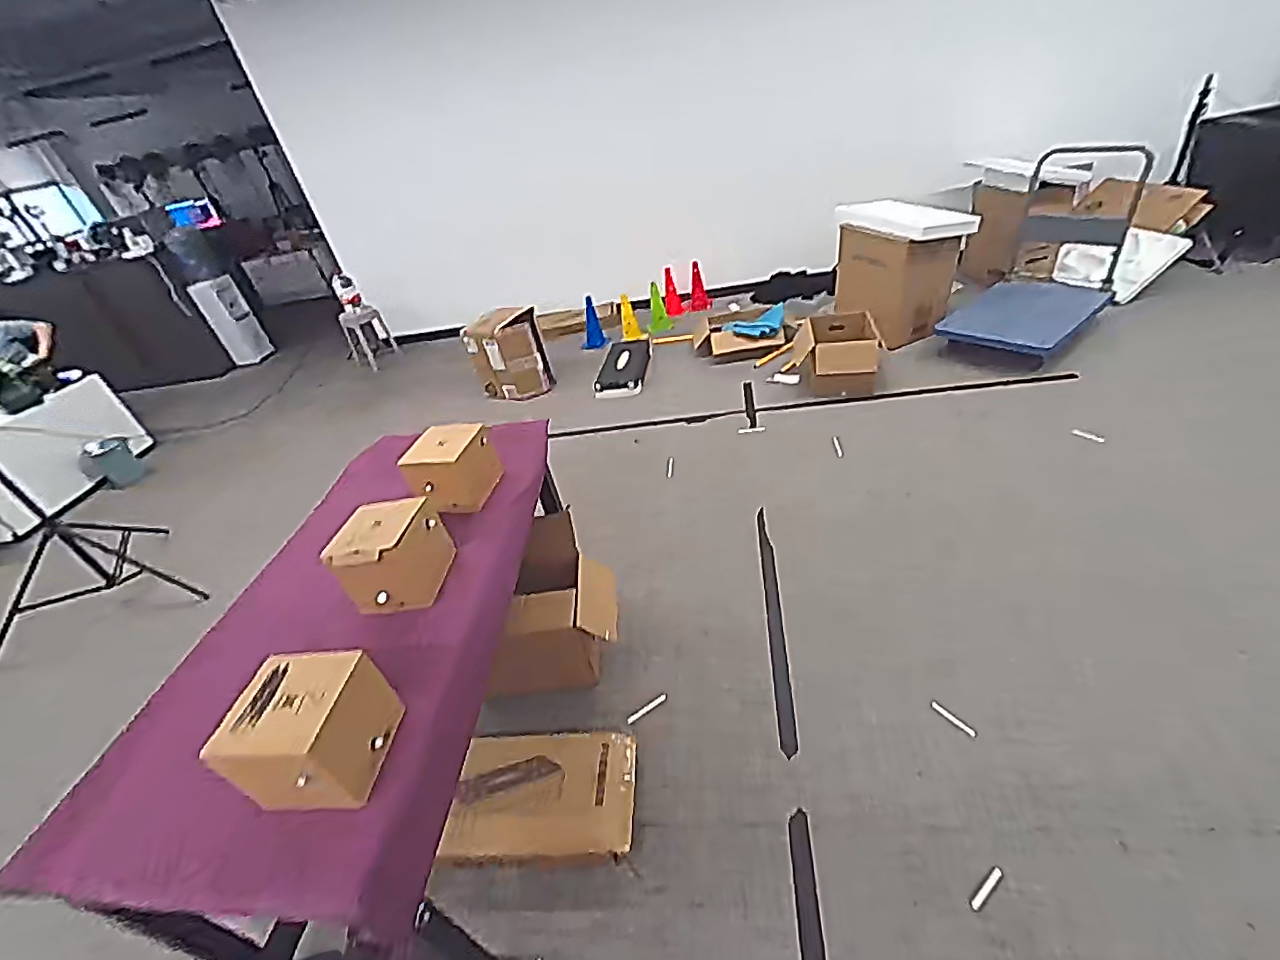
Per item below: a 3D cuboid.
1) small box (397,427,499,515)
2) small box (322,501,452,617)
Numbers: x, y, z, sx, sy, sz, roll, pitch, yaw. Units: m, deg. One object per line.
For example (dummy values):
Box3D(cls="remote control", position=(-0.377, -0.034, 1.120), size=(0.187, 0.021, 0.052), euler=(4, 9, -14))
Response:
Box3D(cls="small box", position=(-0.492, -0.020, 1.423), size=(0.168, 0.176, 0.179), euler=(-2, 36, 14))
Box3D(cls="small box", position=(-0.532, 0.170, 1.171), size=(0.168, 0.176, 0.179), euler=(-9, 35, 10))
